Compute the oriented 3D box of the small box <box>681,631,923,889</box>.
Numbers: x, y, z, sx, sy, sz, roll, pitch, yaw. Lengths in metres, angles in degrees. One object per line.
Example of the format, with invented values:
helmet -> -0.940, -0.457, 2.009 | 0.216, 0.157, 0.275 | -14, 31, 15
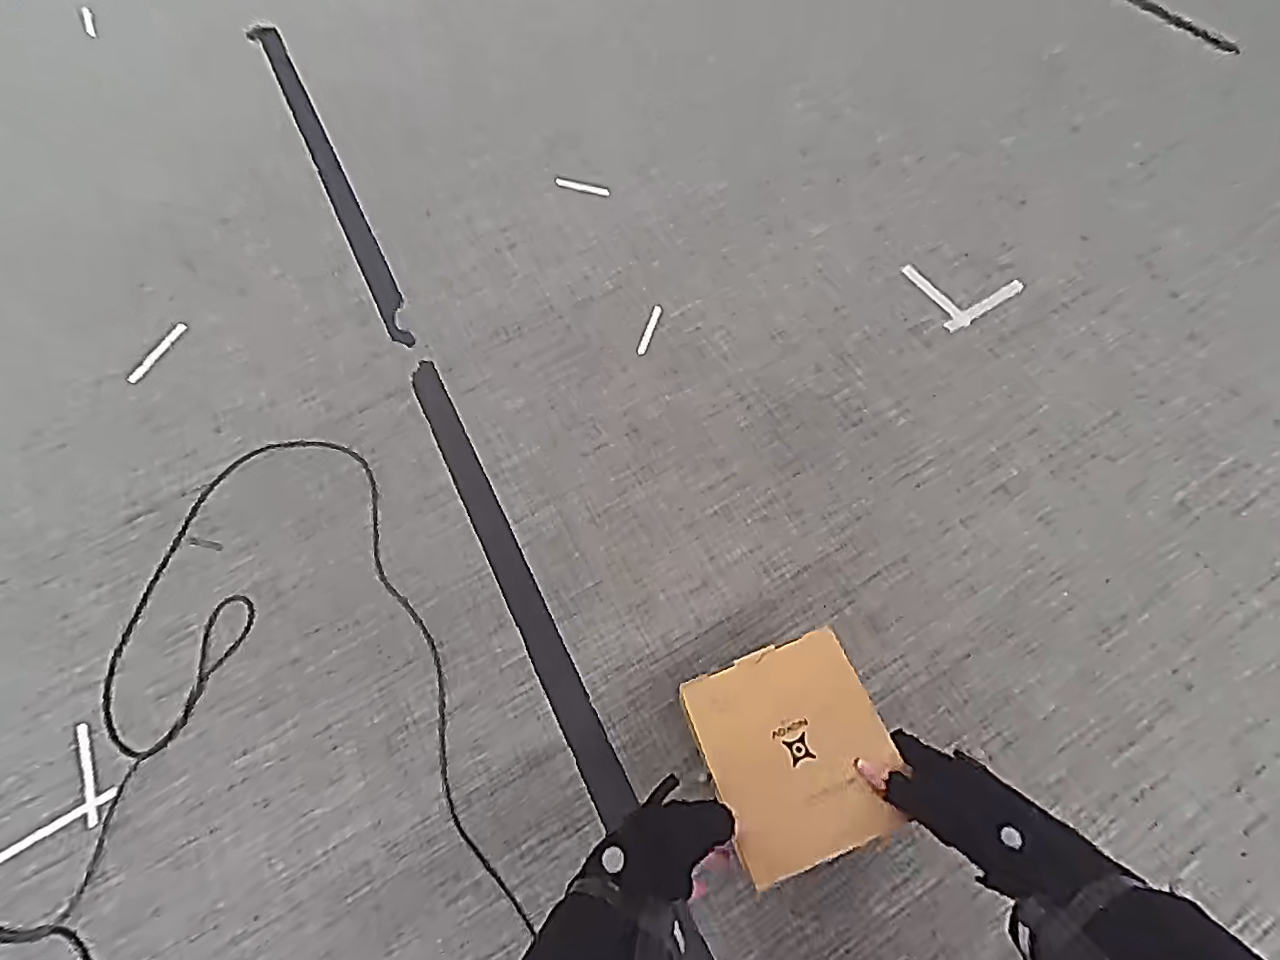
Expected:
small box -> 0.148, 0.287, 0.569 | 0.168, 0.176, 0.179 | -20, 61, -5
